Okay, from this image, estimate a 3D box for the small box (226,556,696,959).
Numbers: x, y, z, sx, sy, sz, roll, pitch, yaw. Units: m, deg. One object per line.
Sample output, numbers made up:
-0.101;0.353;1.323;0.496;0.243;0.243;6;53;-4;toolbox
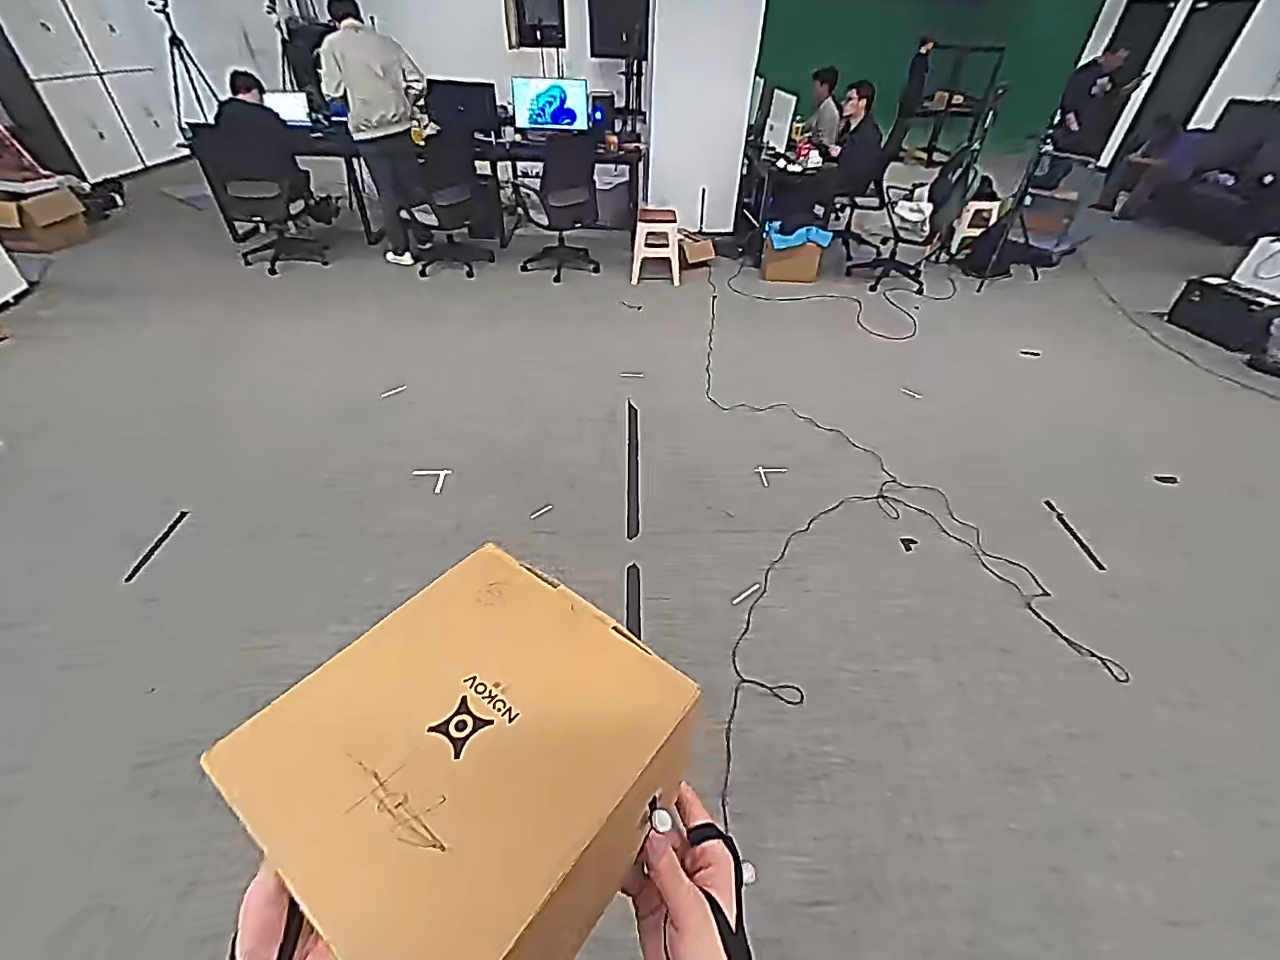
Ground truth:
-0.086;0.187;0.328;0.168;0.176;0.179;26;48;26;small box
